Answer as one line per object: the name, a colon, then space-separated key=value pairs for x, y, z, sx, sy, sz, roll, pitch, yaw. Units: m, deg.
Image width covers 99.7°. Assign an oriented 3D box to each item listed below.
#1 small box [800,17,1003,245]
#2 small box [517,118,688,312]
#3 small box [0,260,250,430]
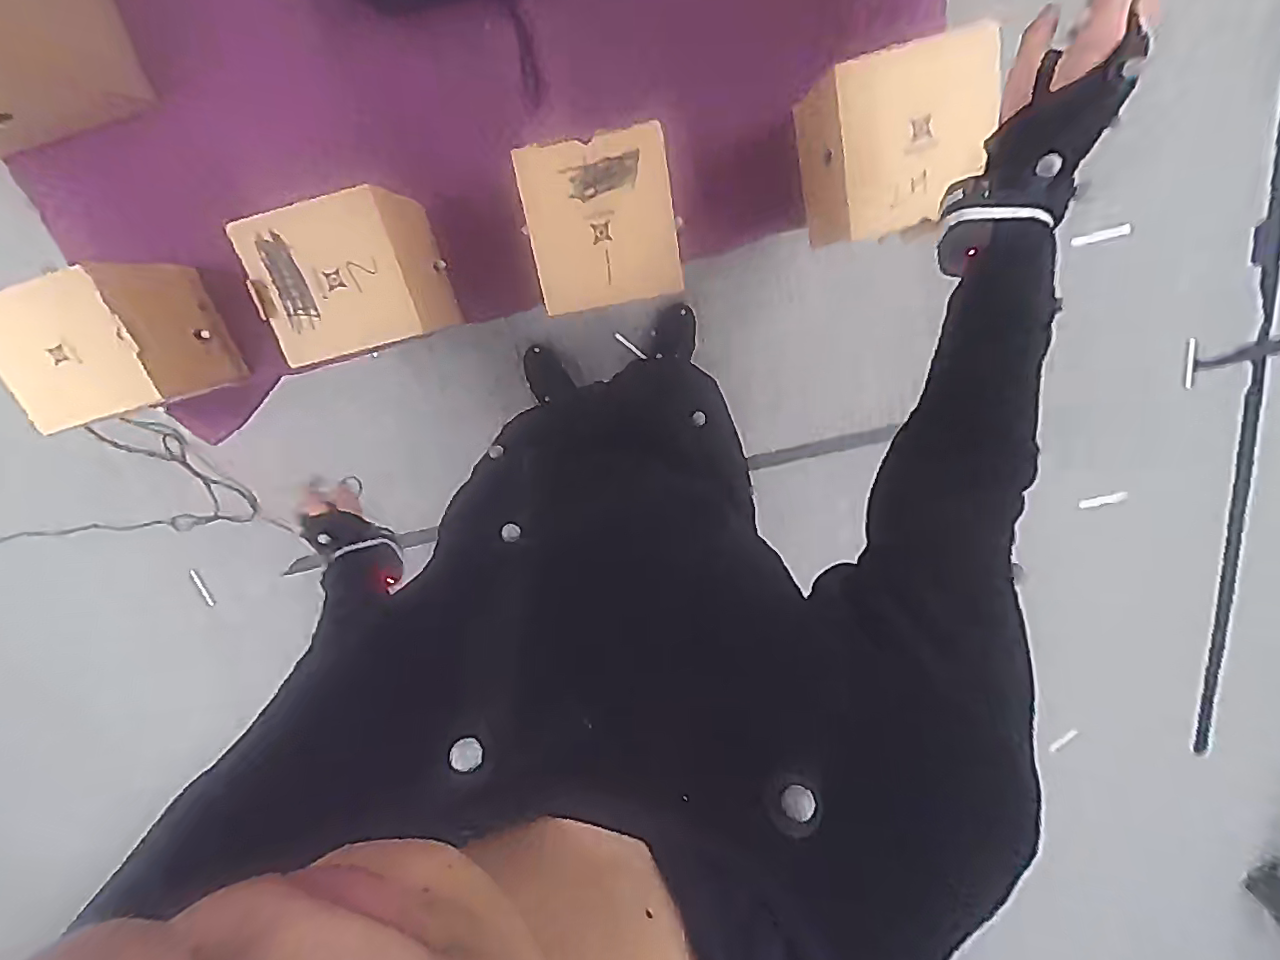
small box: x=0.300 y=-0.395 z=0.647 sx=0.168 sy=0.176 sz=0.179 roll=-12 pitch=111 yaw=6
small box: x=-0.039 y=-0.317 z=0.677 sx=0.168 sy=0.176 sz=0.179 roll=-10 pitch=111 yaw=5
small box: x=-0.689 y=-0.184 z=0.727 sx=0.179 sy=0.176 sz=0.168 roll=-16 pitch=110 yaw=4
